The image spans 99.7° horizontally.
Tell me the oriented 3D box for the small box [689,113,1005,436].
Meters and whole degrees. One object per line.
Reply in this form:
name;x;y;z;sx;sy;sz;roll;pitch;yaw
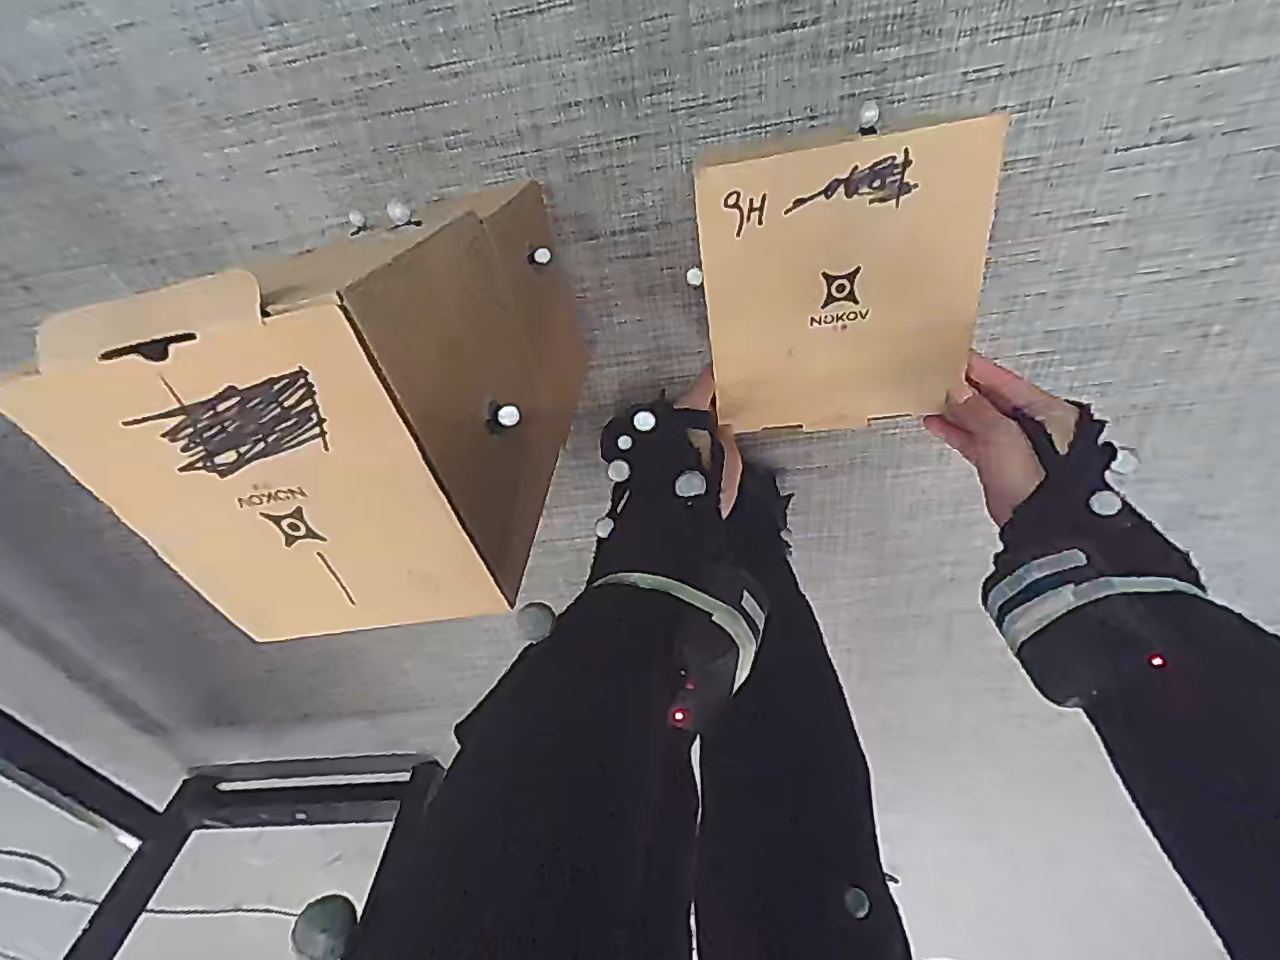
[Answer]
small box;0.128;-0.155;0.401;0.168;0.176;0.179;-6;123;9

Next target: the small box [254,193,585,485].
small box;-0.153;-0.124;0.450;0.168;0.176;0.179;-9;125;10
